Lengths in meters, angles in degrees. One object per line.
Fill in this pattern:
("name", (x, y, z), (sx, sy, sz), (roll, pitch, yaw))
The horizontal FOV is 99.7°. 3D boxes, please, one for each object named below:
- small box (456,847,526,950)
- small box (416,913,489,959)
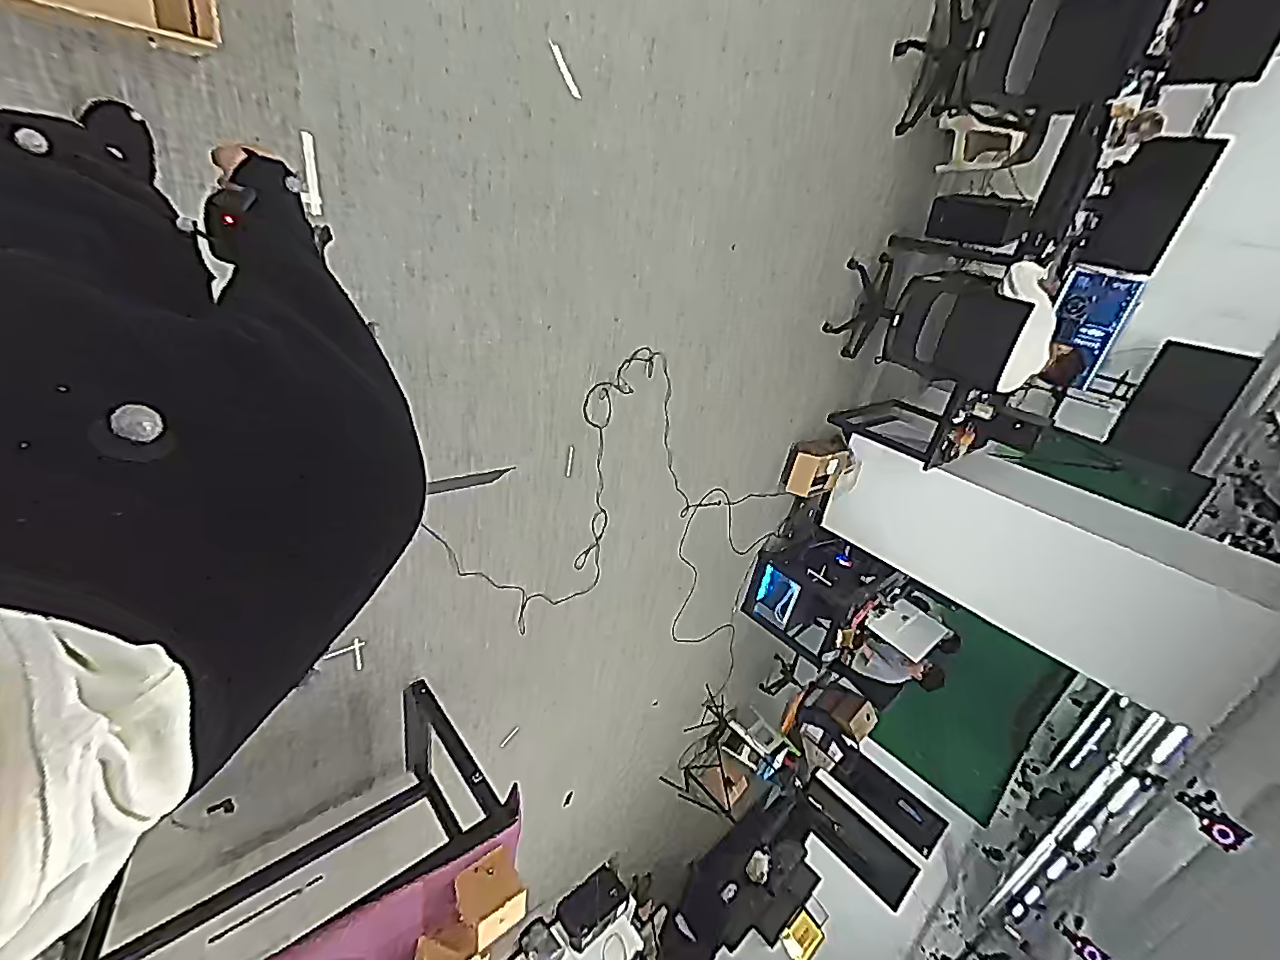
("small box", (-0.485, 1.348, 1.753), (0.168, 0.176, 0.179), (-16, 127, -38))
("small box", (-0.619, 1.573, 1.769), (0.168, 0.176, 0.179), (-7, 120, -44))
